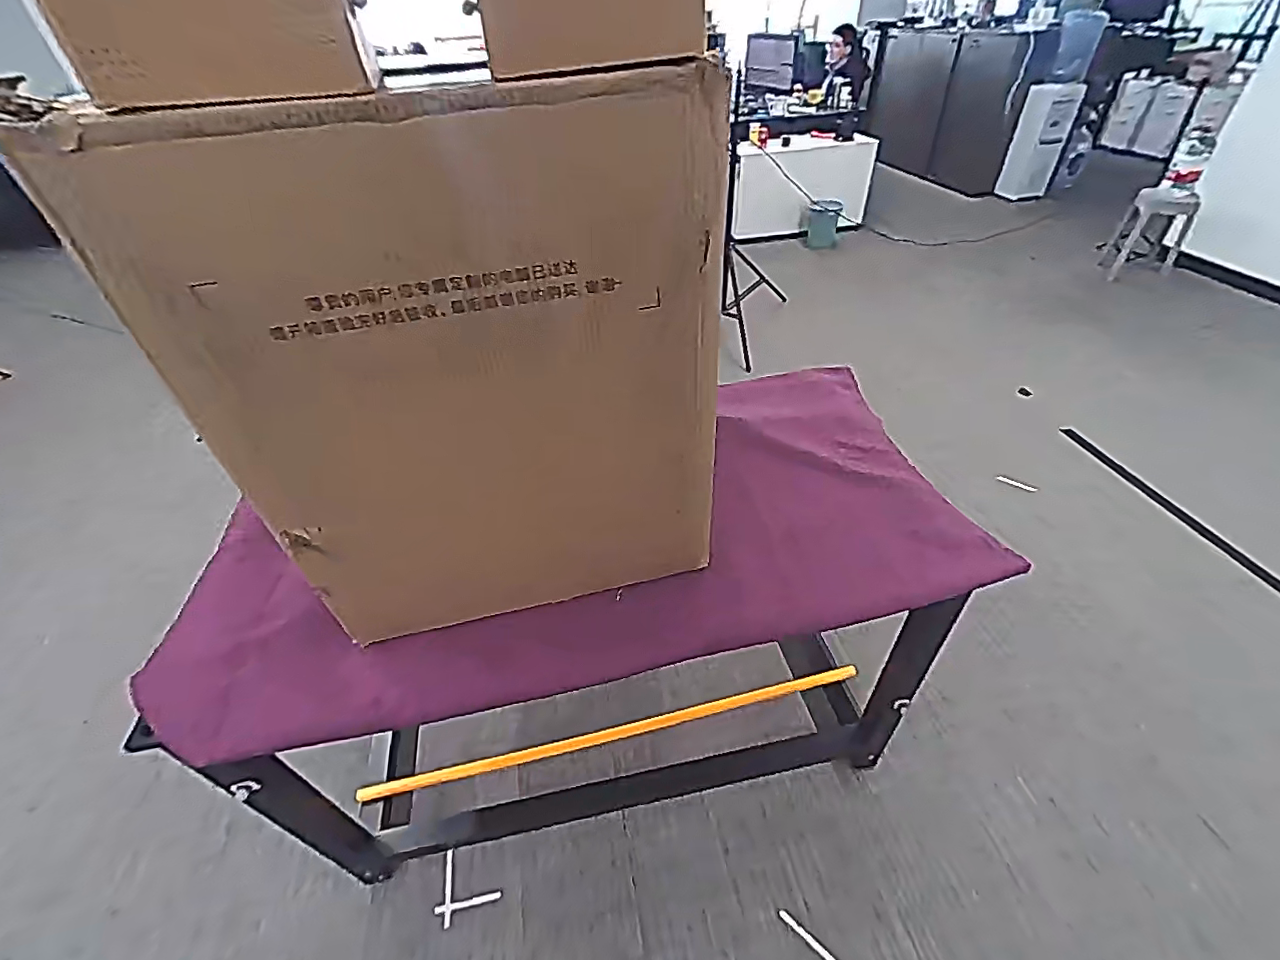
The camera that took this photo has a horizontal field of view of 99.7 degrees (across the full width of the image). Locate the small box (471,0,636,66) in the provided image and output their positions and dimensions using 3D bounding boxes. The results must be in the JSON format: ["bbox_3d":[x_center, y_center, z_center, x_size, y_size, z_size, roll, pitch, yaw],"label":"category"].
[{"bbox_3d":[-0.102,-0.556,0.580,0.168,0.176,0.179,-11,41,-6],"label":"small box"}]
